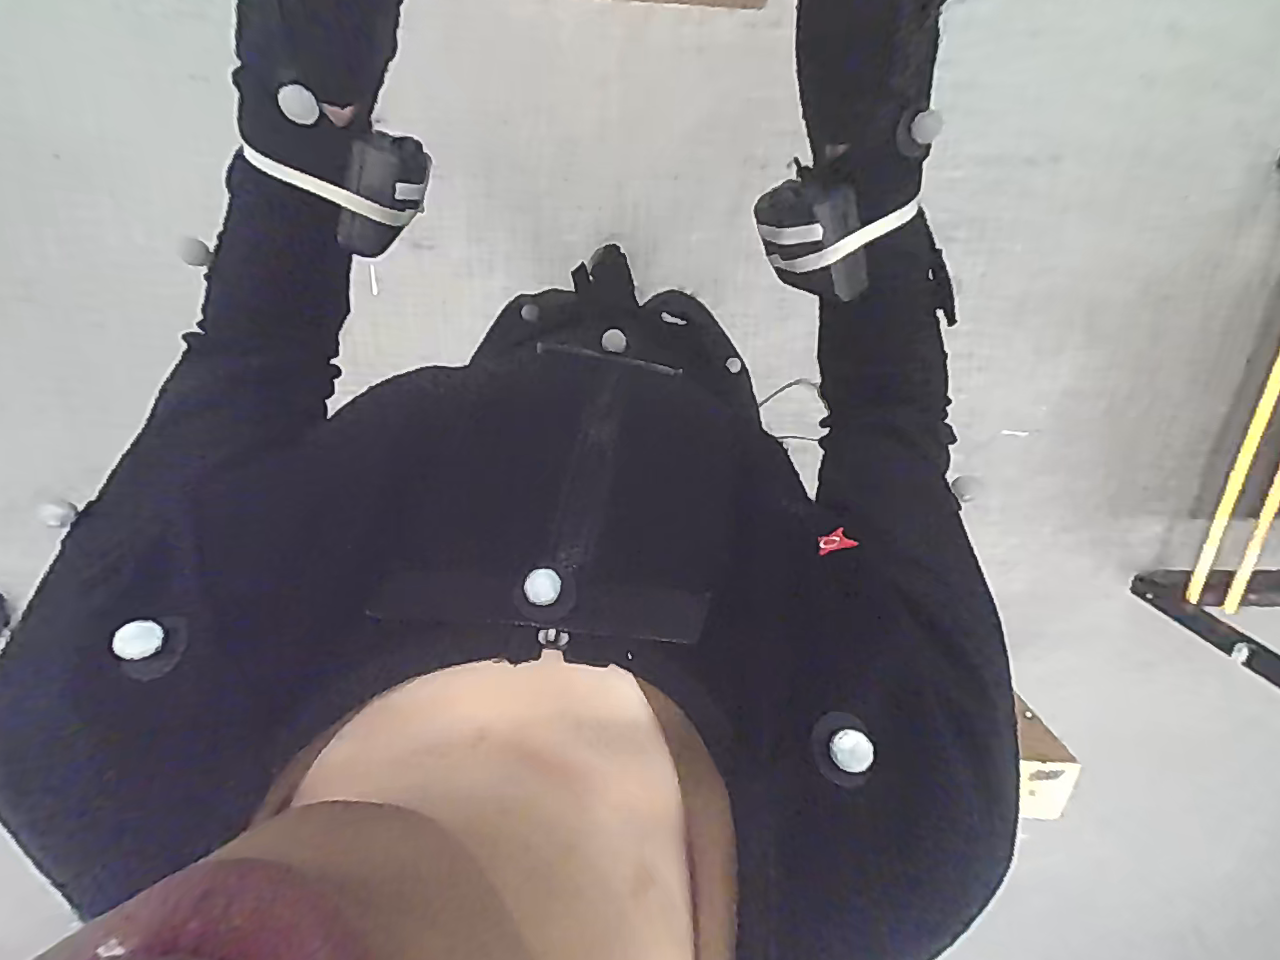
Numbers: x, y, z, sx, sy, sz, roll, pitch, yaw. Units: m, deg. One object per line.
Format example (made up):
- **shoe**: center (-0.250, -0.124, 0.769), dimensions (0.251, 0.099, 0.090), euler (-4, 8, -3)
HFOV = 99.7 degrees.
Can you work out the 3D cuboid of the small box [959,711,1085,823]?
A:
- **small box**: center (0.911, 0.688, 1.310), dimensions (0.168, 0.176, 0.179), euler (3, 110, 1)
